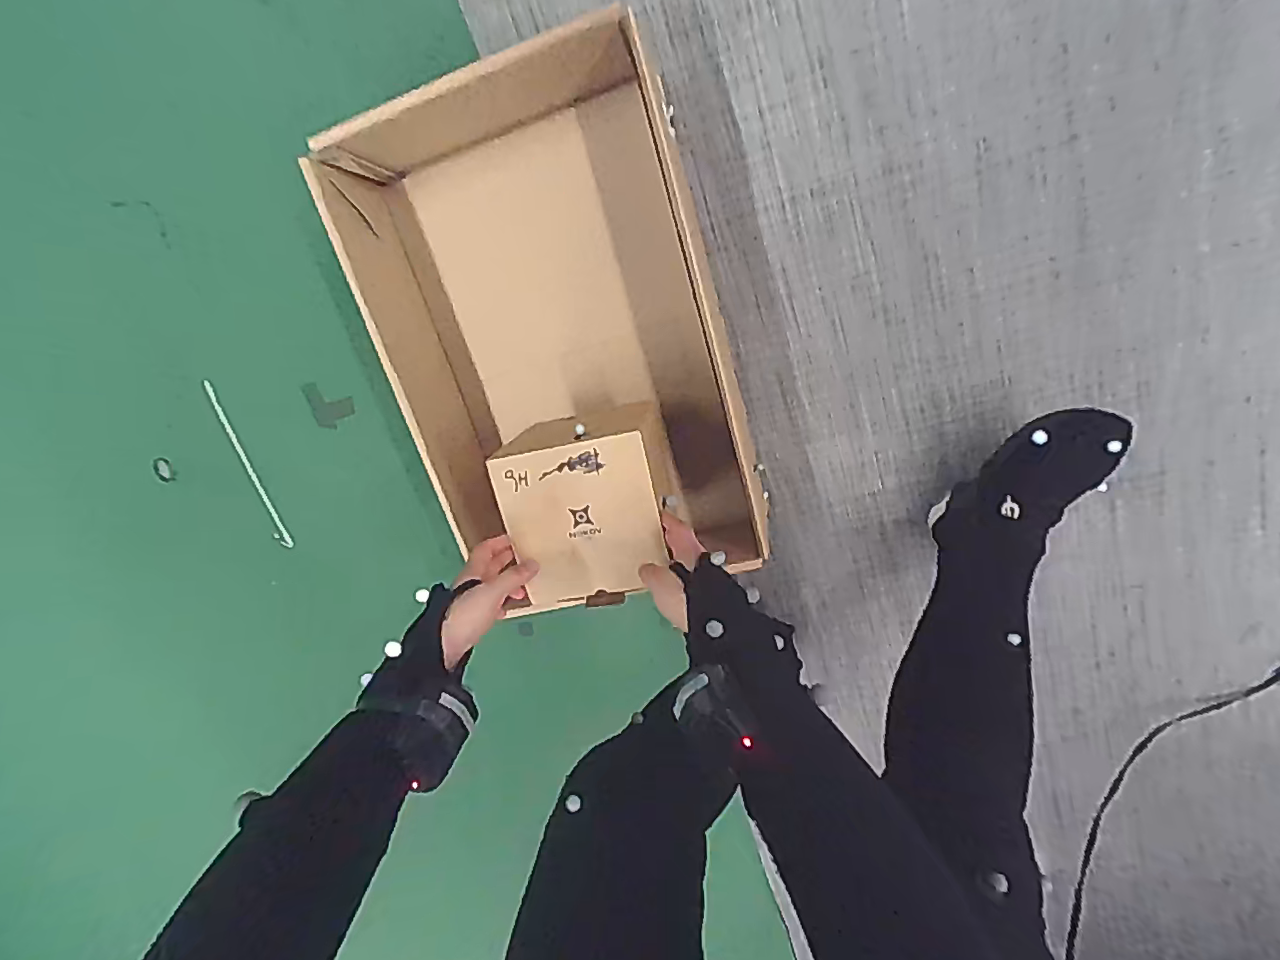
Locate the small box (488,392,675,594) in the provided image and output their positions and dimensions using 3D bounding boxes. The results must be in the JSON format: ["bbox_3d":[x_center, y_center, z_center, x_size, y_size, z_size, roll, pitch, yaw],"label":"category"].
[{"bbox_3d":[-0.053,0.008,0.639,0.168,0.176,0.179,-10,108,8],"label":"small box"}]
